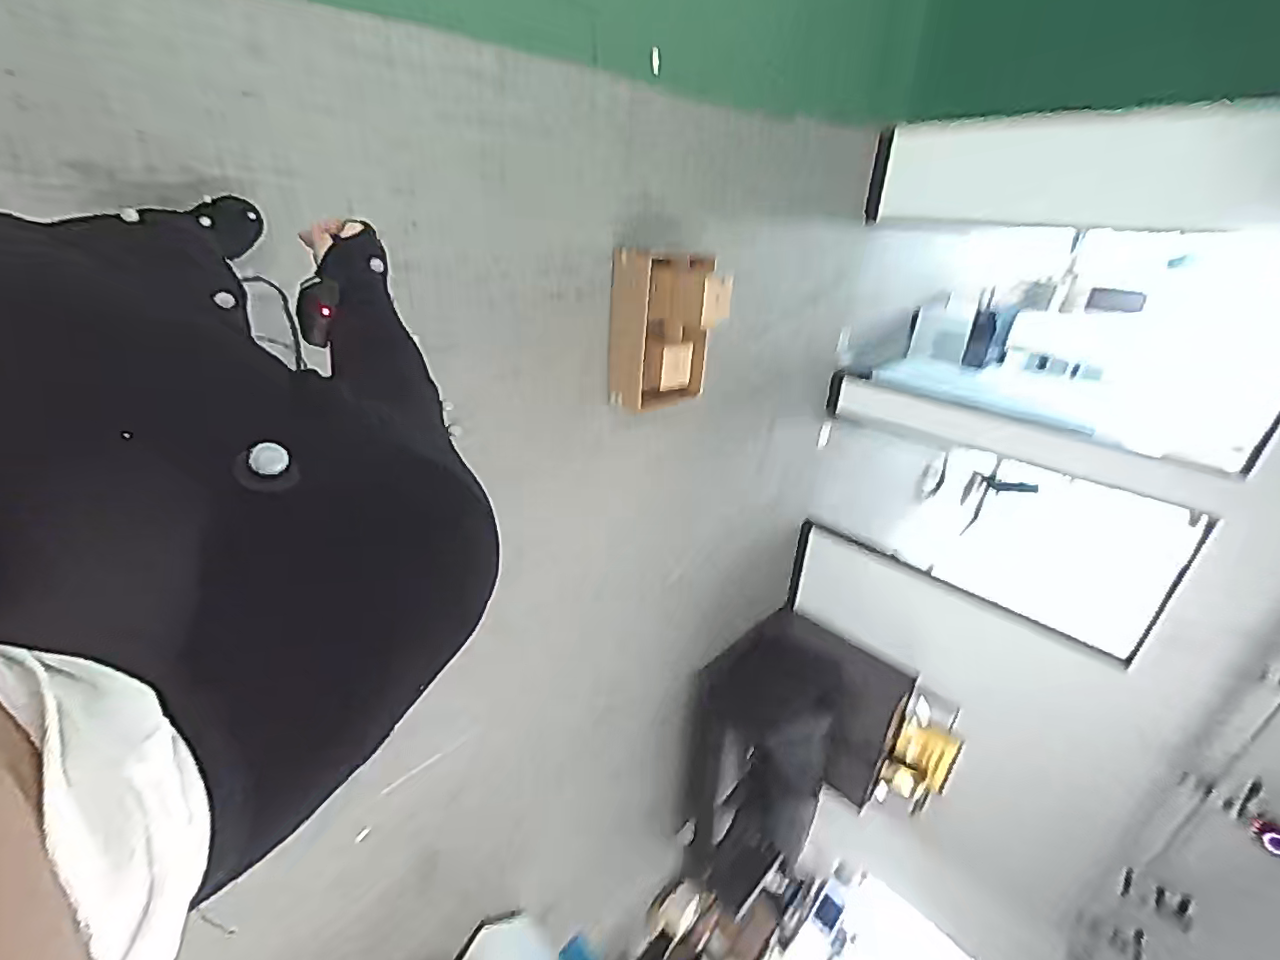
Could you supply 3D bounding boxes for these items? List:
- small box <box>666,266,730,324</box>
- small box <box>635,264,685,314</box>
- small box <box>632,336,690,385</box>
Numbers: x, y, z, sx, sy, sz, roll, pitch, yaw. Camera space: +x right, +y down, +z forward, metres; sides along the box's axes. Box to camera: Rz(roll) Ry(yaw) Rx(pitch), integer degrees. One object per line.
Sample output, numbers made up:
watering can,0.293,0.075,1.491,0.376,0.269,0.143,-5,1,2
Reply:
small box,0.212,-0.692,2.016,0.168,0.176,0.179,-23,127,-41
small box,0.098,-0.752,2.118,0.179,0.176,0.168,-22,126,-42
small box,0.083,-0.498,2.242,0.179,0.176,0.168,-20,124,-42
